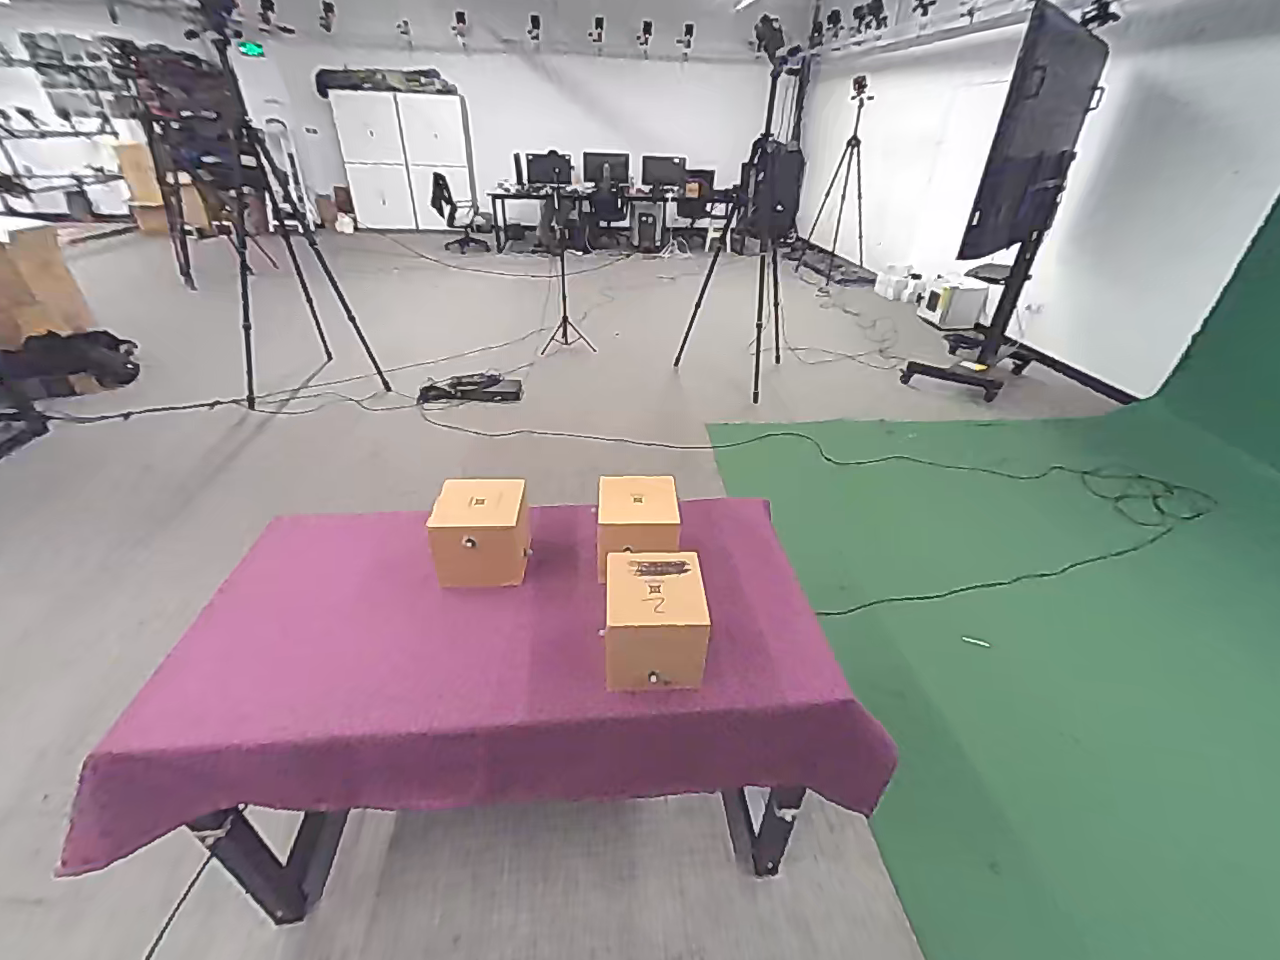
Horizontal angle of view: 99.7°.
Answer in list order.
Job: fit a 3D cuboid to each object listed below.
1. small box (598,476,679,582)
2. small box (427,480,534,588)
[{"bbox_3d":[-0.003,0.108,1.179,0.168,0.176,0.179,0,32,-2],"label":"small box"},{"bbox_3d":[-0.330,0.115,1.157,0.179,0.176,0.168,1,34,-3],"label":"small box"}]
